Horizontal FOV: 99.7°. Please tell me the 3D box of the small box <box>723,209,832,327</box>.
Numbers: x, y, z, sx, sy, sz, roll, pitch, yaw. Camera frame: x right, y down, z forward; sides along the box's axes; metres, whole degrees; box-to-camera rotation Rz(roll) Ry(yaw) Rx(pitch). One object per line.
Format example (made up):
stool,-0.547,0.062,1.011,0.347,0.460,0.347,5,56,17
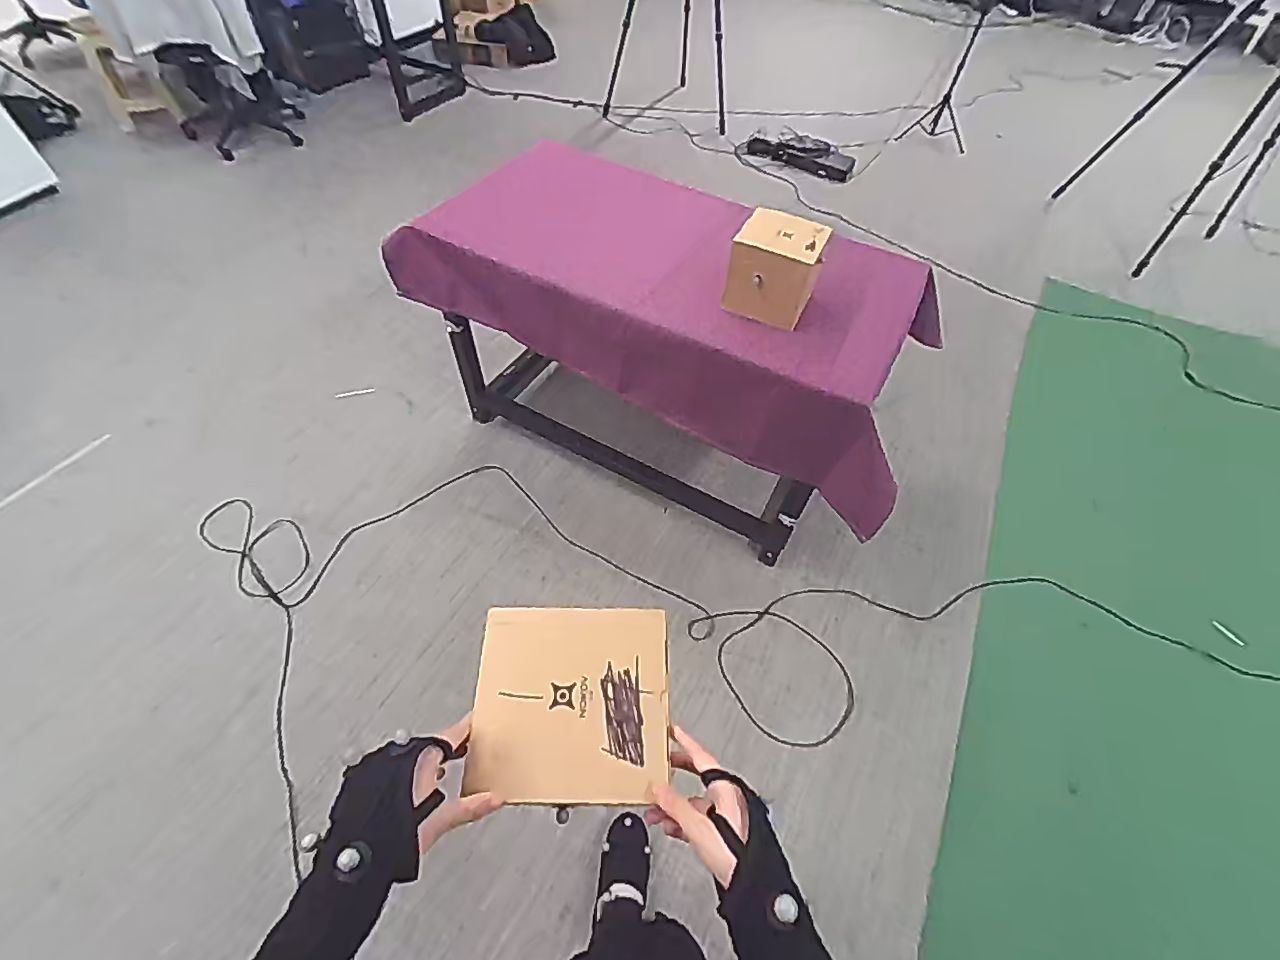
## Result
small box,0.299,-0.468,1.204,0.179,0.176,0.168,23,55,14
